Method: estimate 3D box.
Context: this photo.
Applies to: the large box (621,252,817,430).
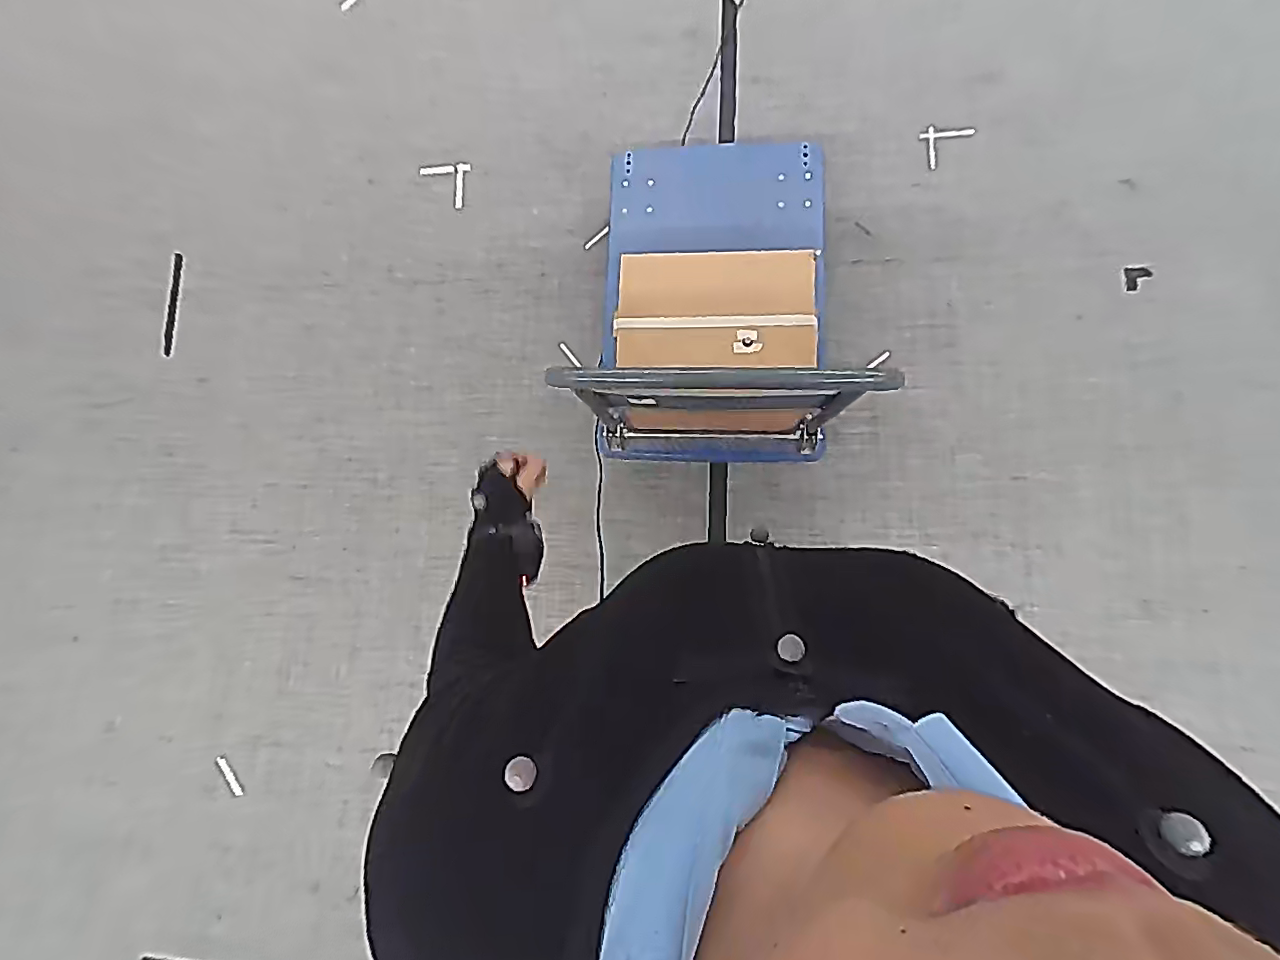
[{"bbox_3d":[0.173,-0.302,1.269,0.408,0.320,0.320,1,83,6],"label":"large box"}]
